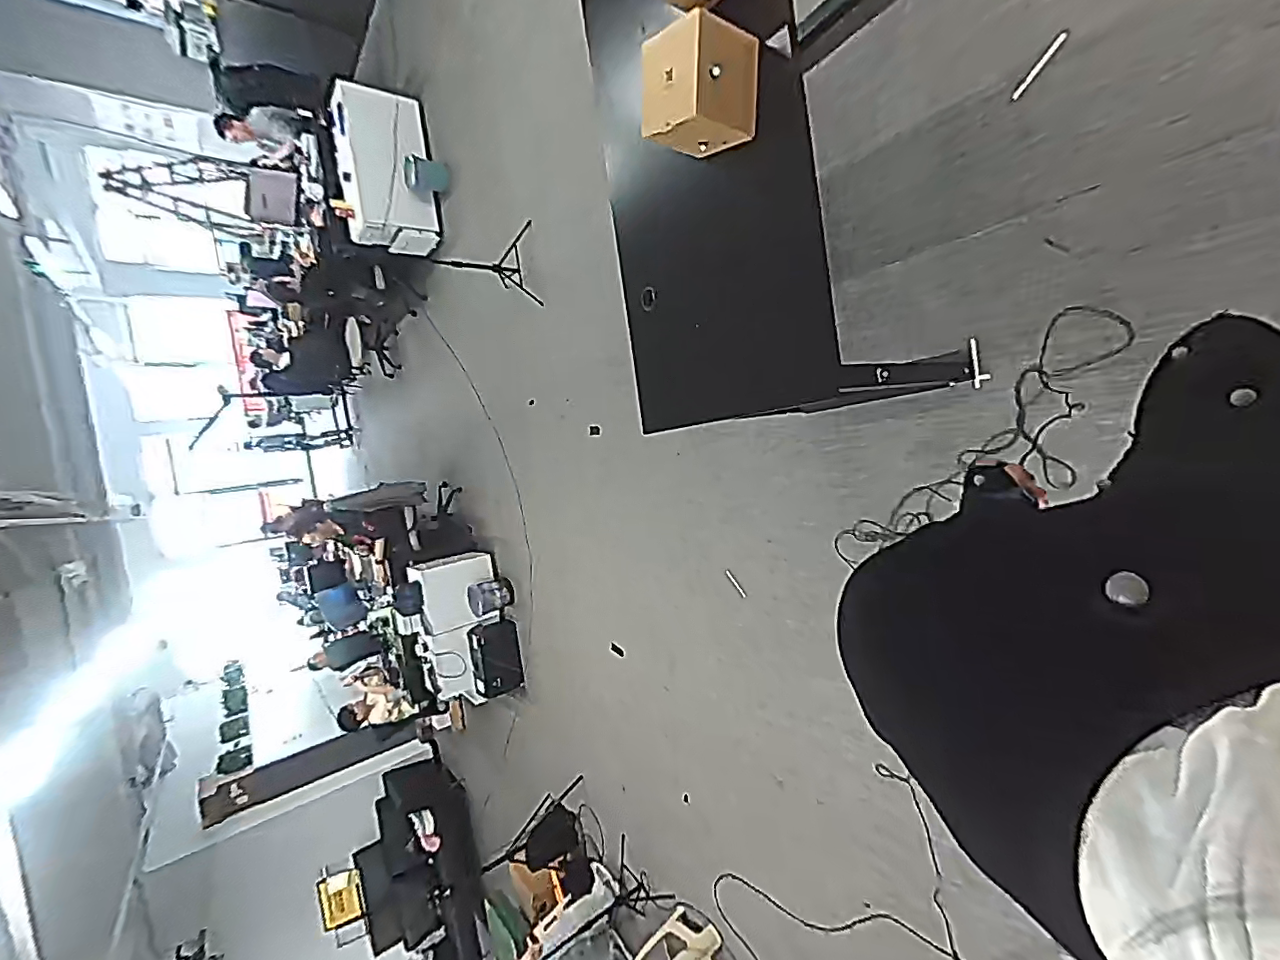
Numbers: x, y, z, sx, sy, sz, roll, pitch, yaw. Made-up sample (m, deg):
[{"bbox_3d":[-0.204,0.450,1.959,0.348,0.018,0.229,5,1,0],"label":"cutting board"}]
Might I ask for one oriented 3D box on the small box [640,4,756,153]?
[{"bbox_3d":[0.117,-0.789,1.086,0.168,0.176,0.179,17,113,50],"label":"small box"}]
